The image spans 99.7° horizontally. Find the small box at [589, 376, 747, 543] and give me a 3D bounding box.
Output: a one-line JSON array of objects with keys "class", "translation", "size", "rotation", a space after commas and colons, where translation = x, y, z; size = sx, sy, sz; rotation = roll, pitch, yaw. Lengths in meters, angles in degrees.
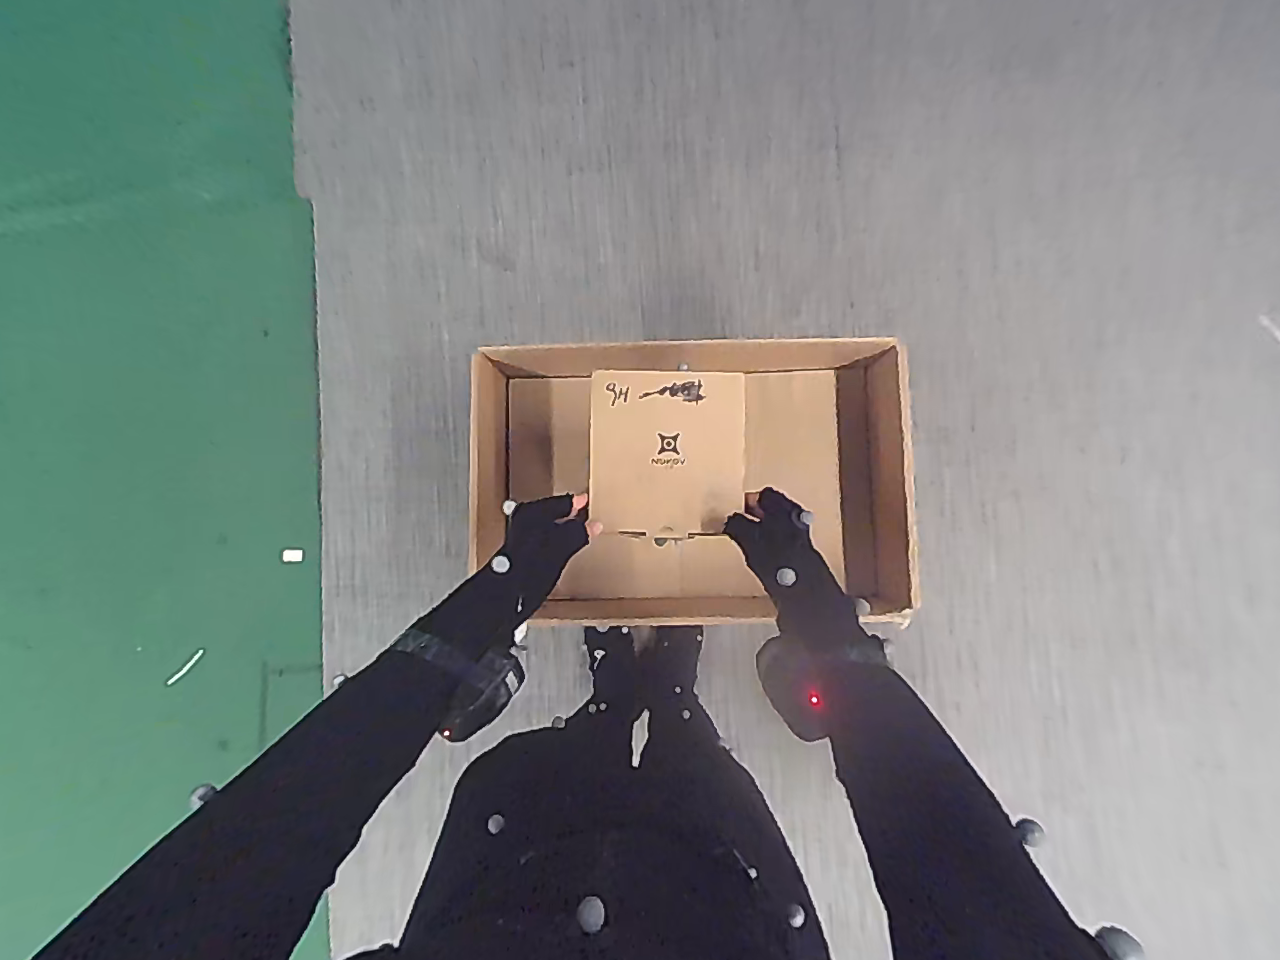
[{"class": "small box", "translation": [0.029, -0.019, 0.650], "size": [0.168, 0.176, 0.179], "rotation": [1, 87, -1]}]
